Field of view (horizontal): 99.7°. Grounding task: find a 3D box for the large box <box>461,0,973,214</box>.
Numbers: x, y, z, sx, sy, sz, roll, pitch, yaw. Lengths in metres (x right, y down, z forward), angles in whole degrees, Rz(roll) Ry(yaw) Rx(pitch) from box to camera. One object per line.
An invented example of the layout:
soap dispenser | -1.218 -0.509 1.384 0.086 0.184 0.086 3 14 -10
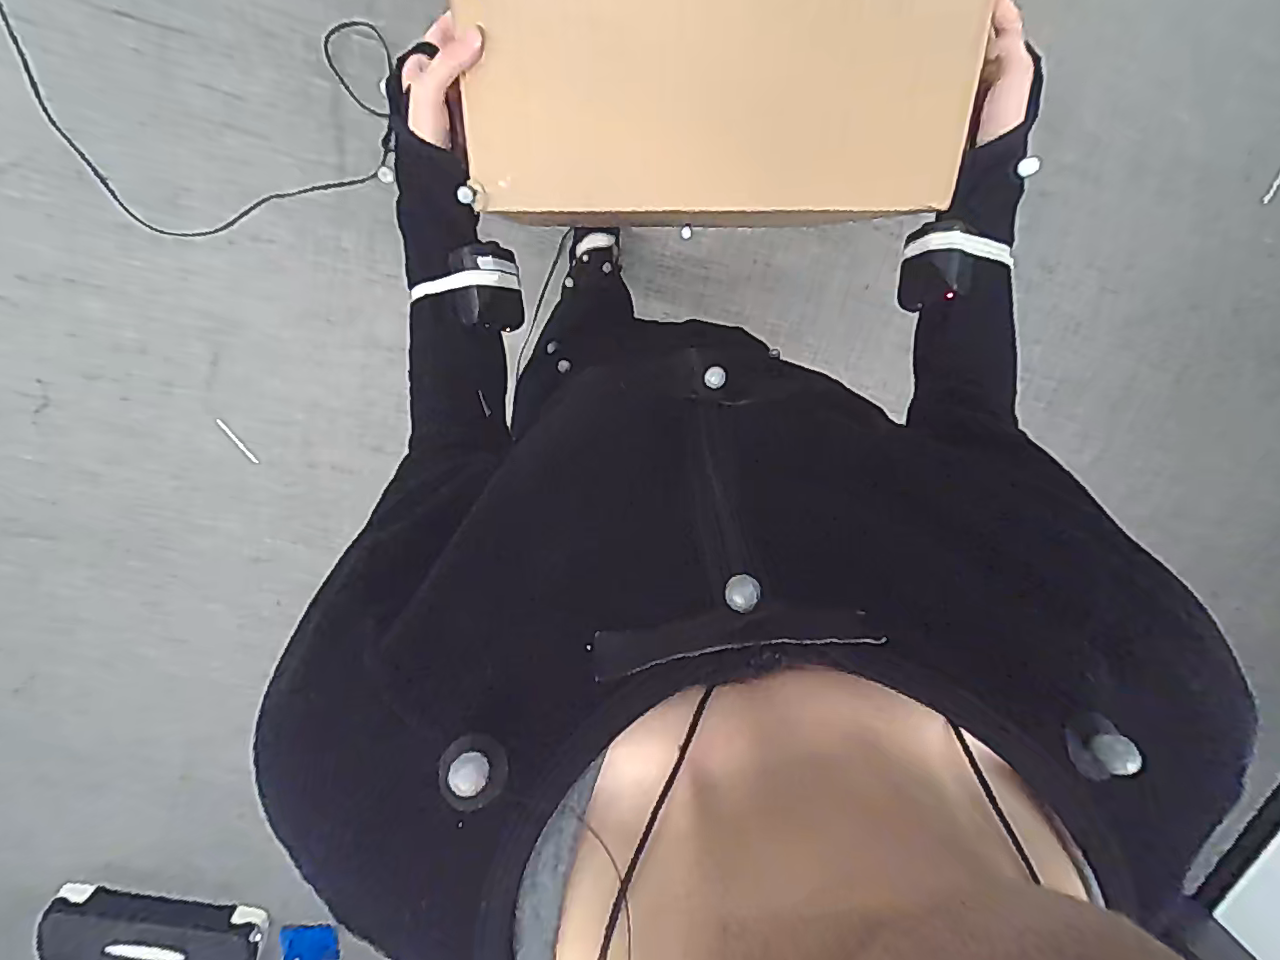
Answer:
large box | 0.054 -0.444 0.538 0.408 0.320 0.320 -2 113 -4
